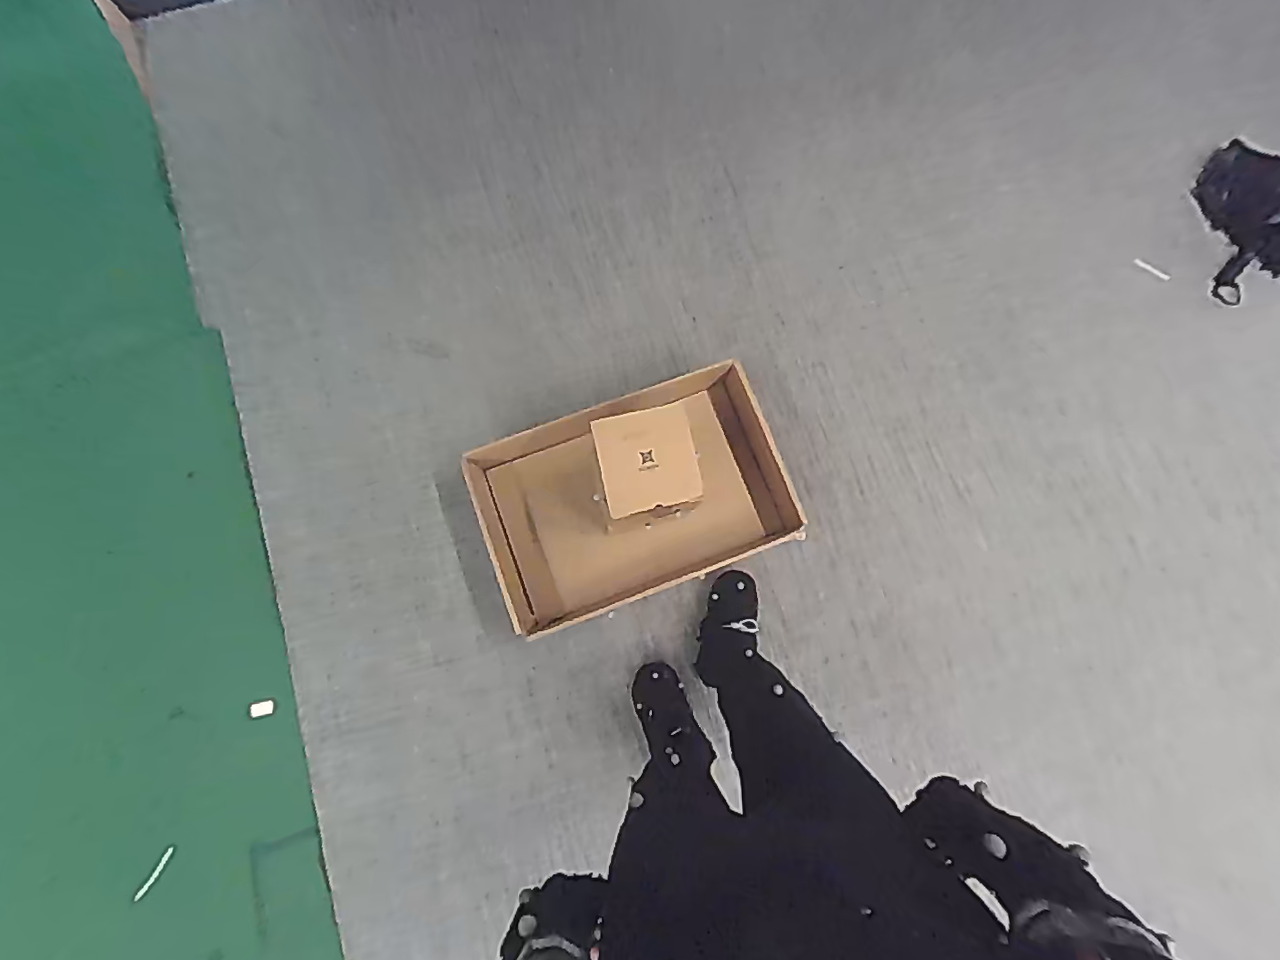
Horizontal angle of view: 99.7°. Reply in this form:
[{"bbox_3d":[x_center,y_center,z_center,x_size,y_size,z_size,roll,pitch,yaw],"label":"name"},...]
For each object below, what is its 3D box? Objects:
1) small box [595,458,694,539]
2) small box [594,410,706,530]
[{"bbox_3d":[0.010,0.027,1.175,0.179,0.176,0.168,-14,80,0],"label":"small box"},{"bbox_3d":[0.016,-0.009,1.001,0.168,0.176,0.179,-12,79,-3],"label":"small box"}]
